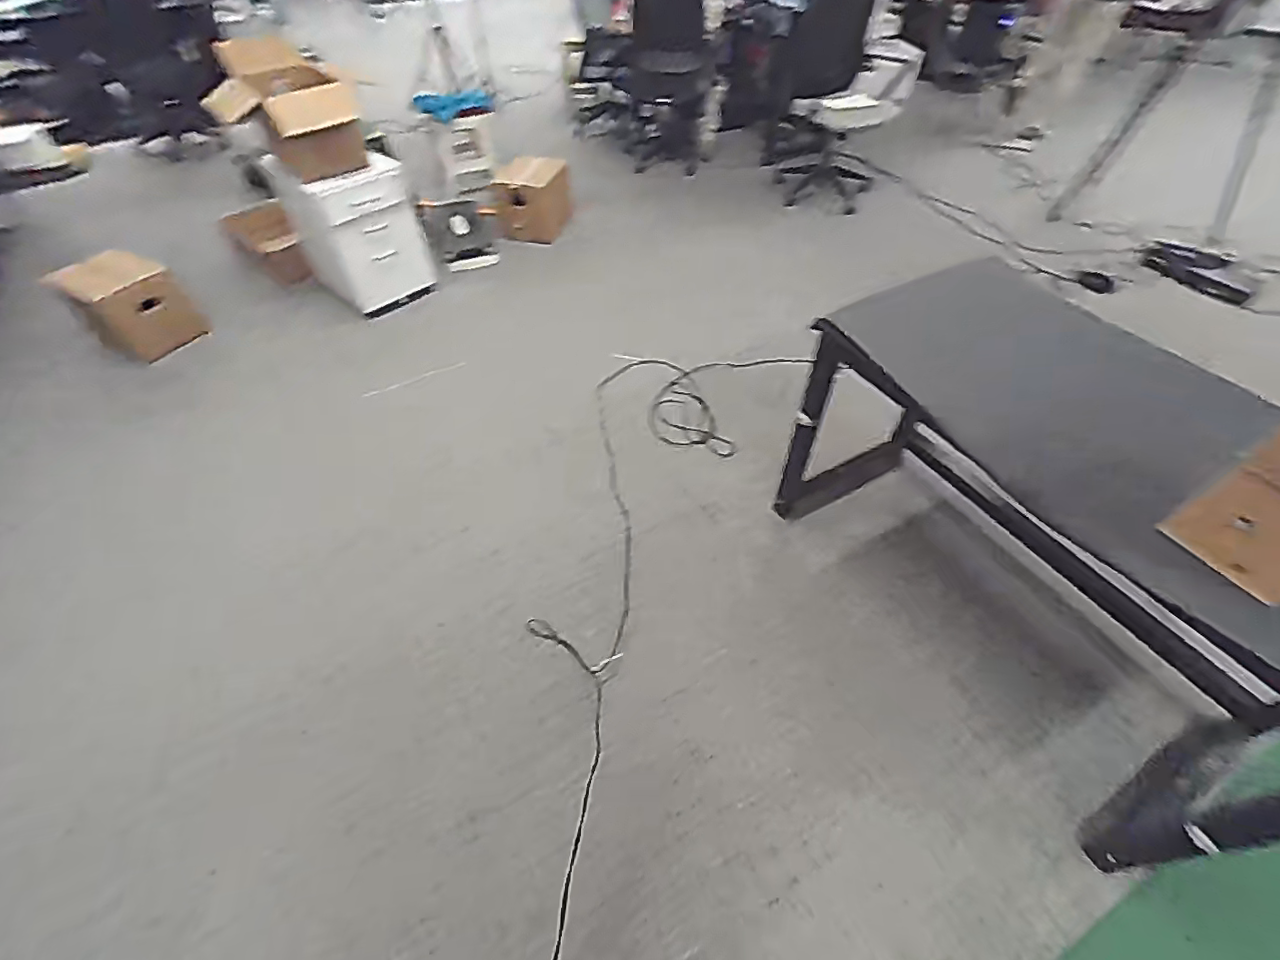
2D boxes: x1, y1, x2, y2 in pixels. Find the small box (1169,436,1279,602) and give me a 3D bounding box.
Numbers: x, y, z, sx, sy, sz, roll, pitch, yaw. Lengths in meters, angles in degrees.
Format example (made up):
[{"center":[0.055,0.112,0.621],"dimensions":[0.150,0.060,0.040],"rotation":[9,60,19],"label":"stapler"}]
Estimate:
[{"center":[0.969,0.054,0.812],"dimensions":[0.179,0.176,0.168],"rotation":[-22,52,-19],"label":"small box"}]
